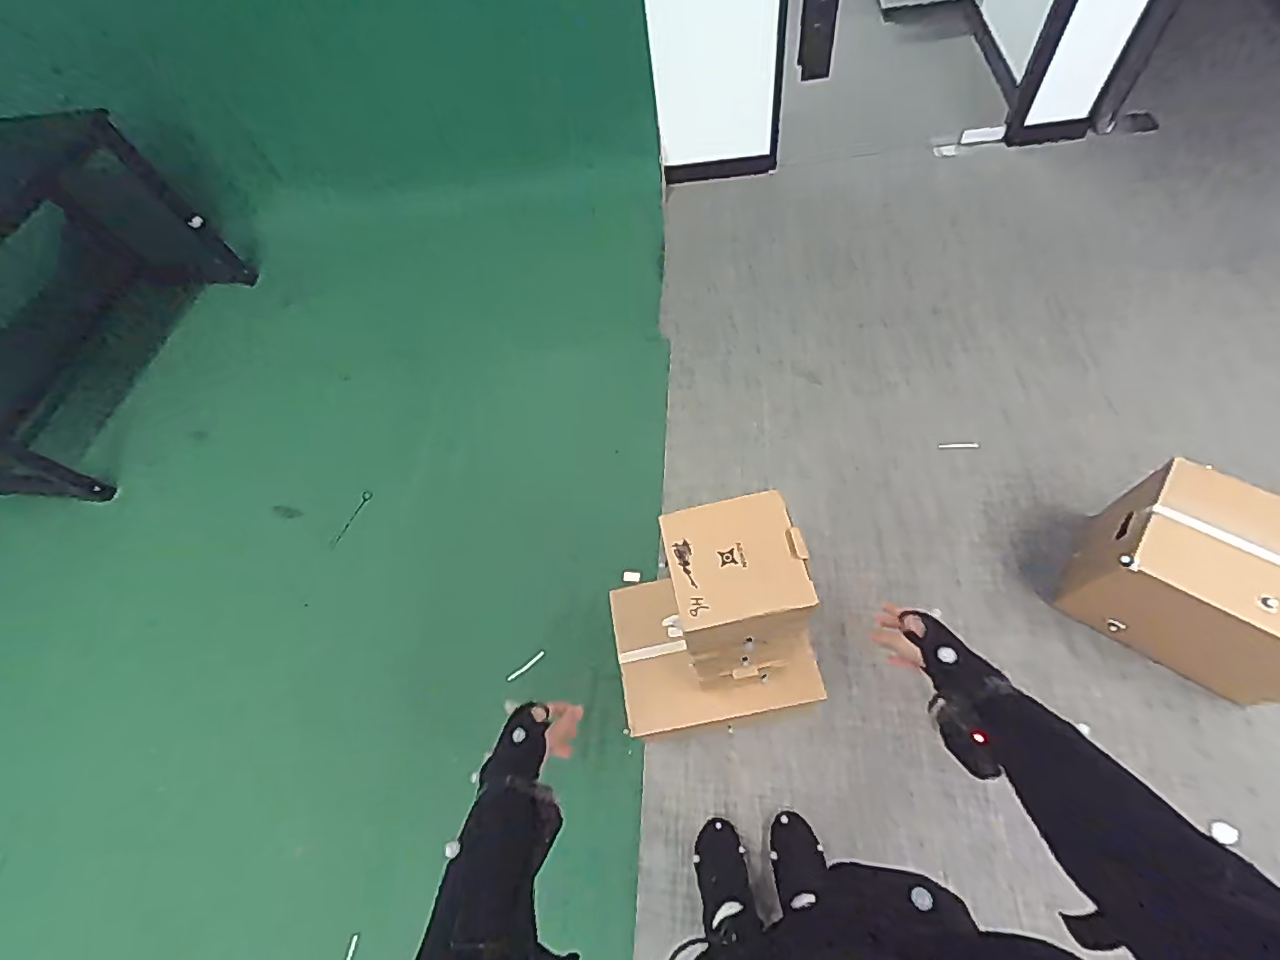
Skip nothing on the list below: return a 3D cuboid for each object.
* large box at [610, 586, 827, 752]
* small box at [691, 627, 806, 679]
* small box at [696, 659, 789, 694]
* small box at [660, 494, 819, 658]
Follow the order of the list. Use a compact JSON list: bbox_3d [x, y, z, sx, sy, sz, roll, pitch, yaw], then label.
[{"bbox_3d":[0.176,0.428,1.270,0.408,0.320,0.320,-13,58,4],"label":"large box"},{"bbox_3d":[0.160,0.225,0.913,0.179,0.176,0.168,-13,59,2],"label":"small box"},{"bbox_3d":[0.182,0.309,1.052,0.168,0.176,0.179,-12,59,3],"label":"small box"},{"bbox_3d":[0.133,0.143,0.773,0.179,0.176,0.168,-12,59,2],"label":"small box"}]
